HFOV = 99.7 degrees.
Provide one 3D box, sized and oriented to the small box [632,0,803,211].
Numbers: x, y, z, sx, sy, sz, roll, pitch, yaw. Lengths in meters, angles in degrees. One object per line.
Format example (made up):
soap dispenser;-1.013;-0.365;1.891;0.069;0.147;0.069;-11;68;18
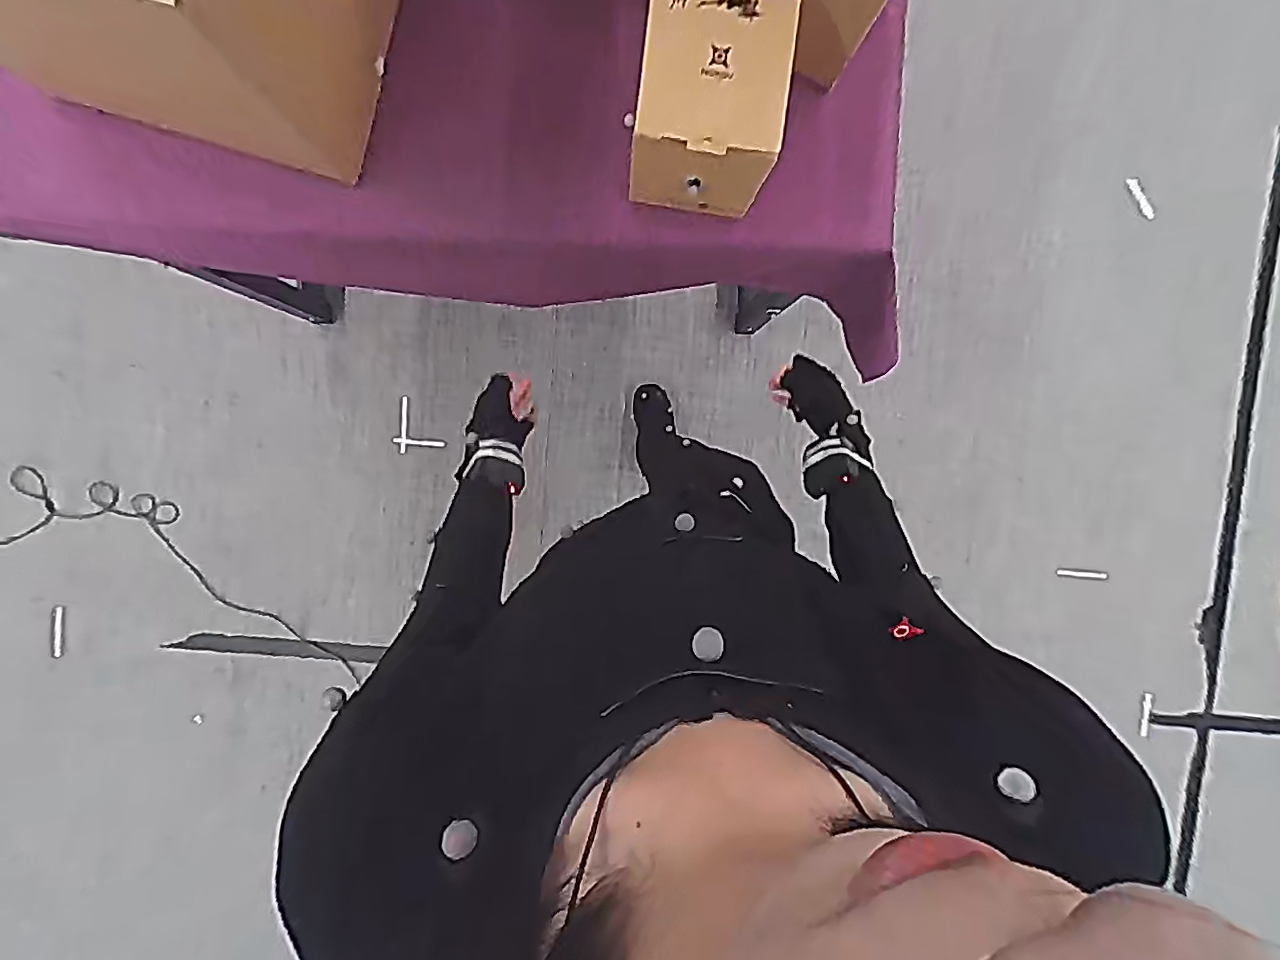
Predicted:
small box;0.081;-0.458;0.664;0.168;0.176;0.179;7;93;-3
